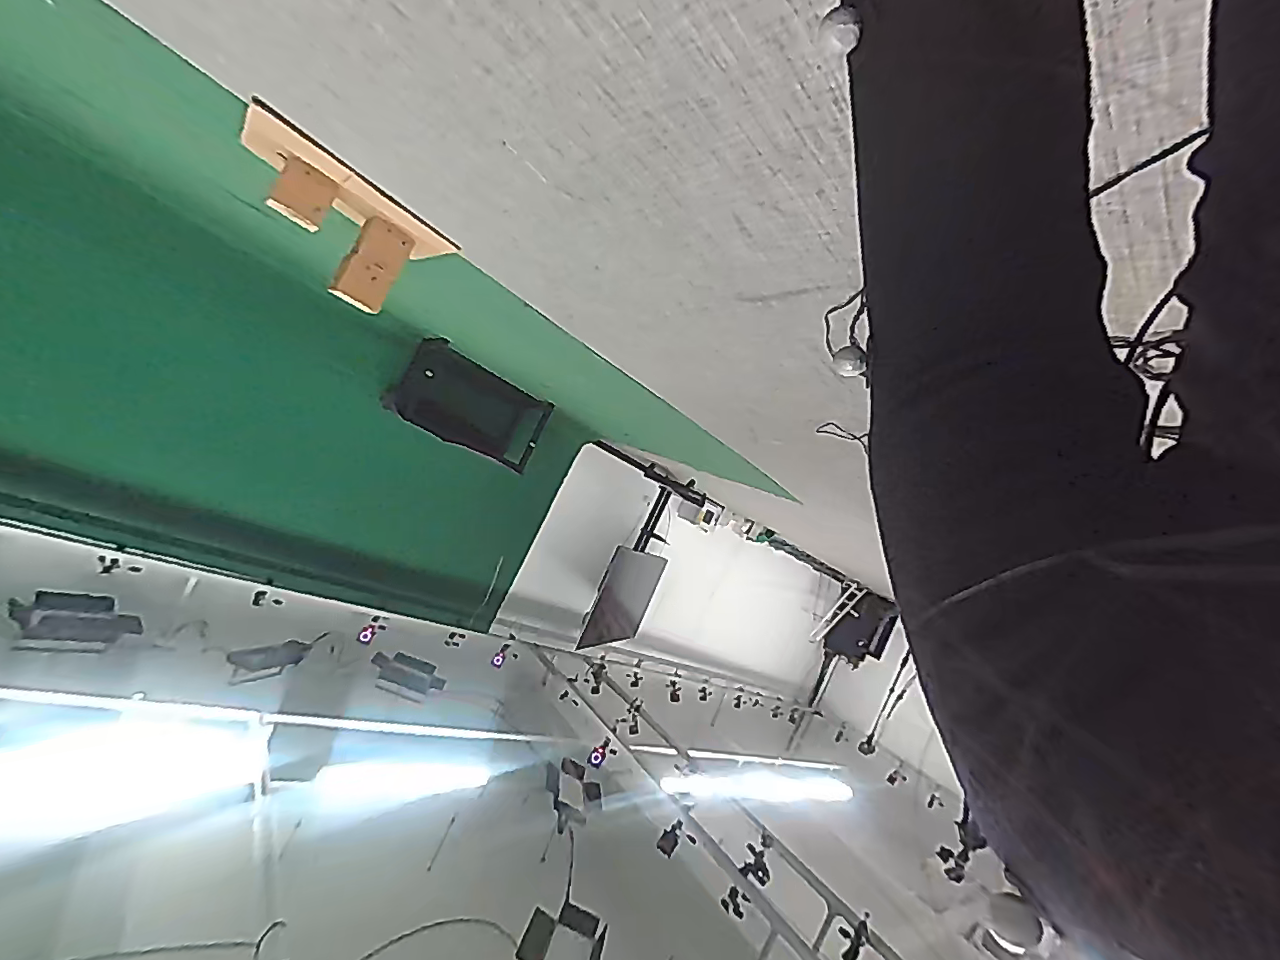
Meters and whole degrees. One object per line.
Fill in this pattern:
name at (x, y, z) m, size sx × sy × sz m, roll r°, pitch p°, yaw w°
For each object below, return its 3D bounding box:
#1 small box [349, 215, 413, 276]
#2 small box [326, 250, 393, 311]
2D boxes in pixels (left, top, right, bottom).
small box at (-1.044, -0.947, 2.183) m, size 0.168 × 0.176 × 0.179 m, roll 28°, pitch 177°, yaw -42°
small box at (-1.127, -0.807, 2.181) m, size 0.179 × 0.176 × 0.168 m, roll 23°, pitch 175°, yaw 46°
